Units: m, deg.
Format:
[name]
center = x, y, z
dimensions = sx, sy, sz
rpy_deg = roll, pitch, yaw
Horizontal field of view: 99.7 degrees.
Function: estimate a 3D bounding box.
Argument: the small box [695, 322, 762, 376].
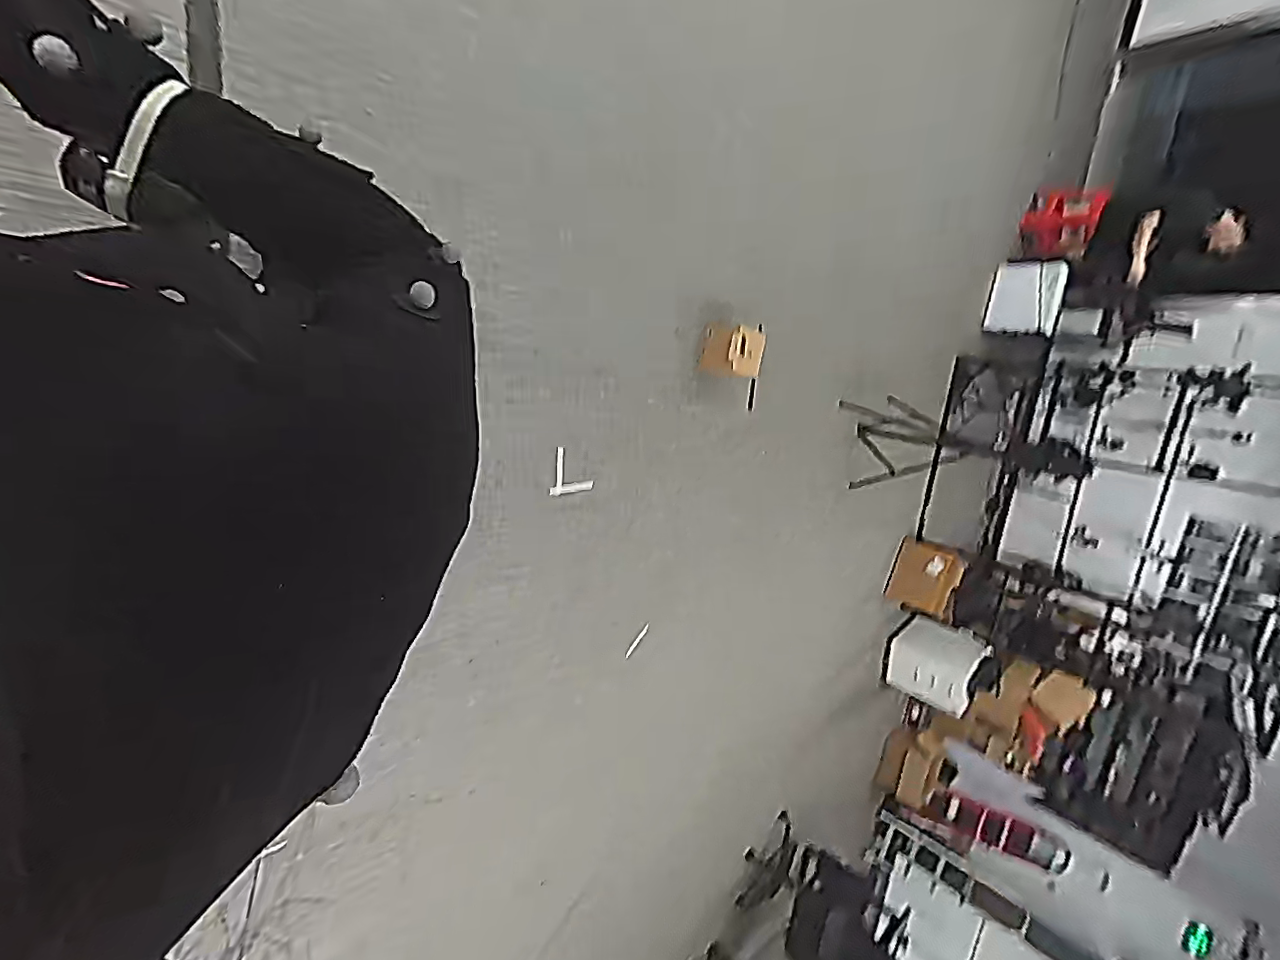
[small box]
center = 0.335, -0.499, 2.065
dimensions = 0.179, 0.176, 0.168
rpy_deg = 3, 101, -46
